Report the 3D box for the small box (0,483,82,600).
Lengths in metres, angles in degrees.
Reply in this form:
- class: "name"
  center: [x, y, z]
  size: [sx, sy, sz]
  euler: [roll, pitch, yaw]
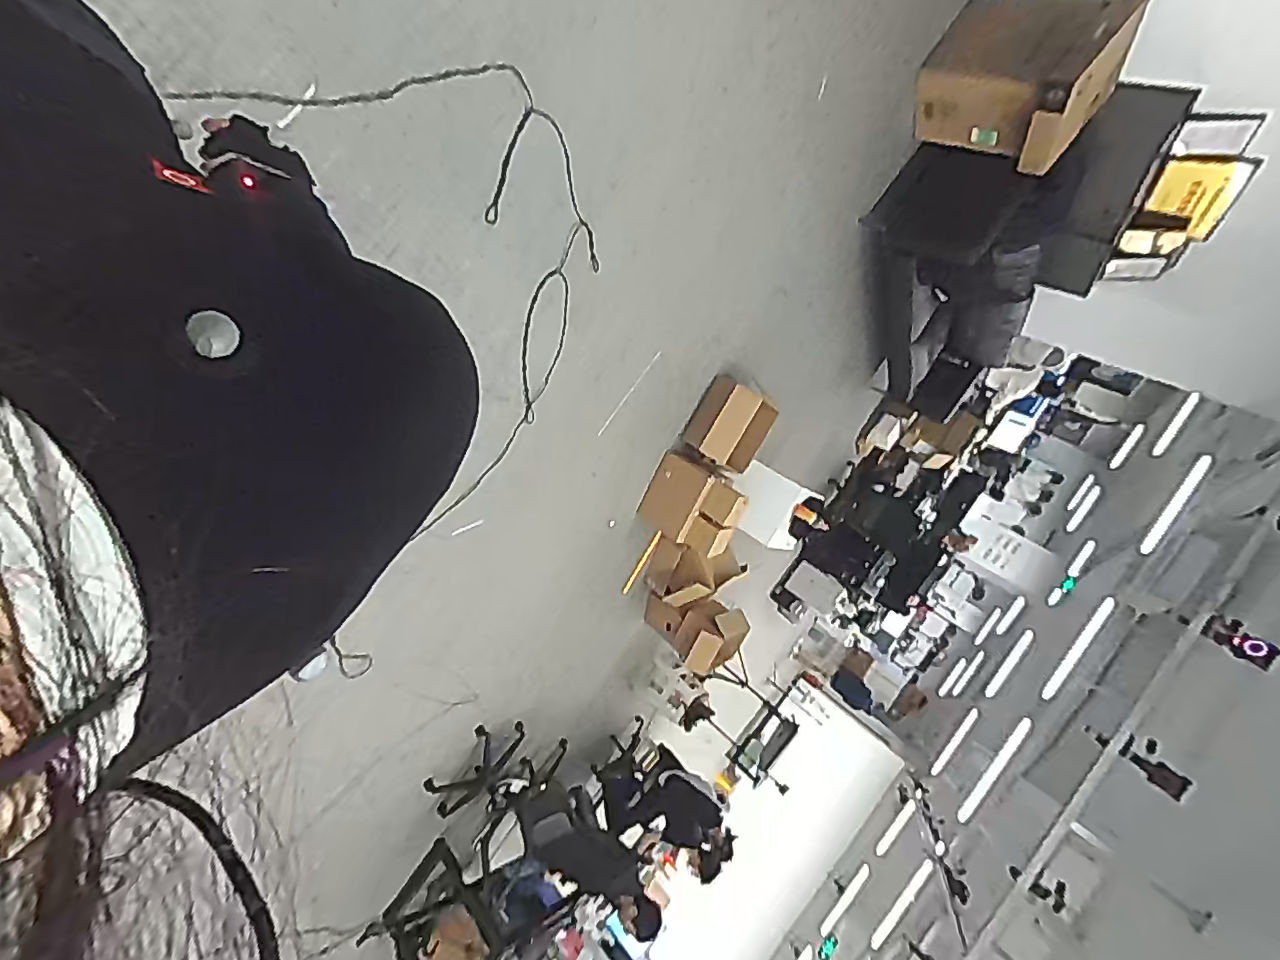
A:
- class: "small box"
  center: [-1.276, 0.117, 1.076]
  size: [0.179, 0.176, 0.168]
  euler: [-57, 150, 4]
